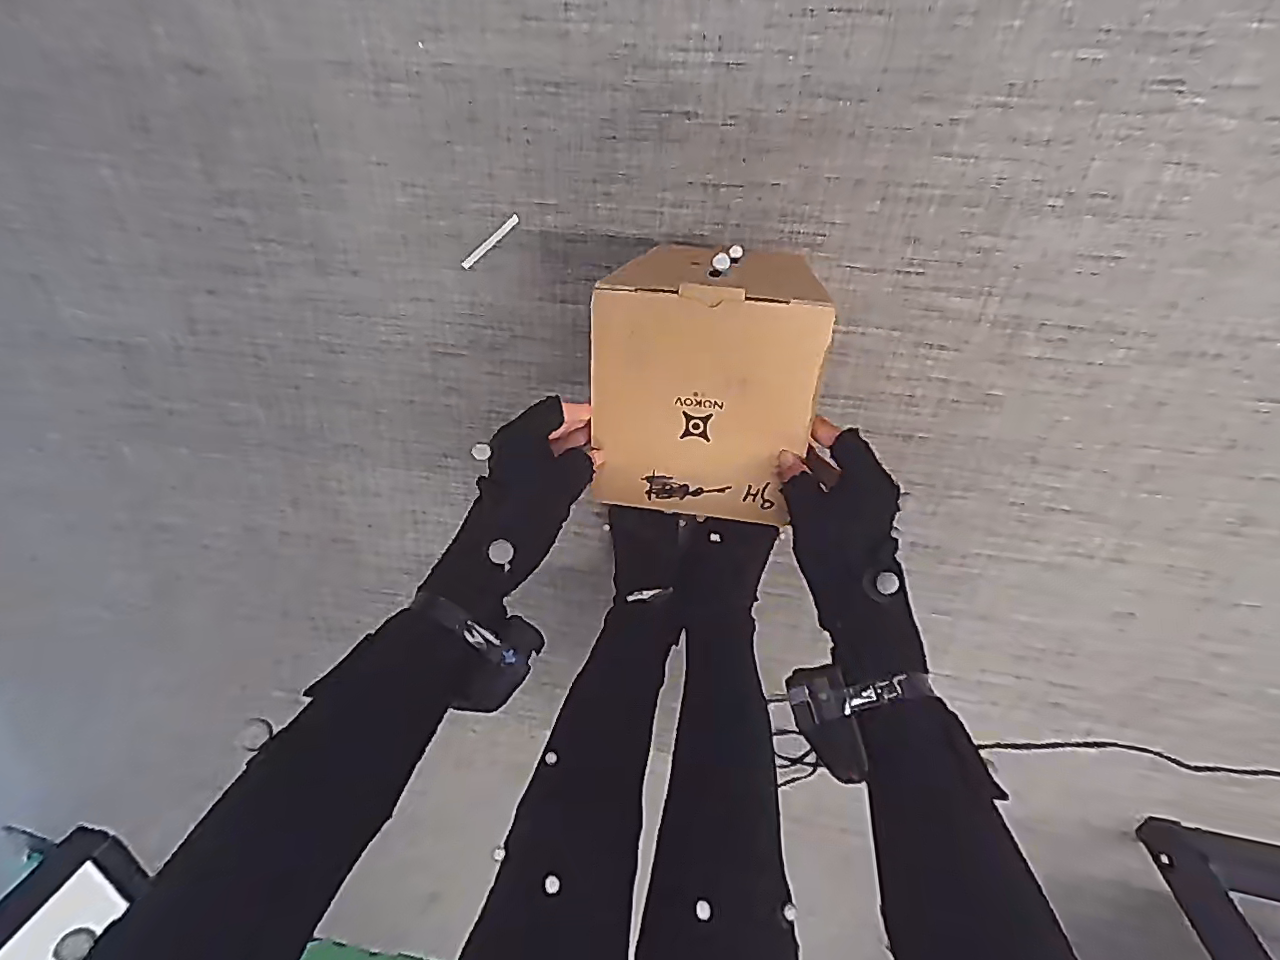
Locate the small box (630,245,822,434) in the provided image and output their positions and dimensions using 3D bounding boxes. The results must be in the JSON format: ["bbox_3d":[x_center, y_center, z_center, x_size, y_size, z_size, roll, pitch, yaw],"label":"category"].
[{"bbox_3d":[0.094,-0.169,0.617,0.179,0.176,0.168,8,120,8],"label":"small box"}]
